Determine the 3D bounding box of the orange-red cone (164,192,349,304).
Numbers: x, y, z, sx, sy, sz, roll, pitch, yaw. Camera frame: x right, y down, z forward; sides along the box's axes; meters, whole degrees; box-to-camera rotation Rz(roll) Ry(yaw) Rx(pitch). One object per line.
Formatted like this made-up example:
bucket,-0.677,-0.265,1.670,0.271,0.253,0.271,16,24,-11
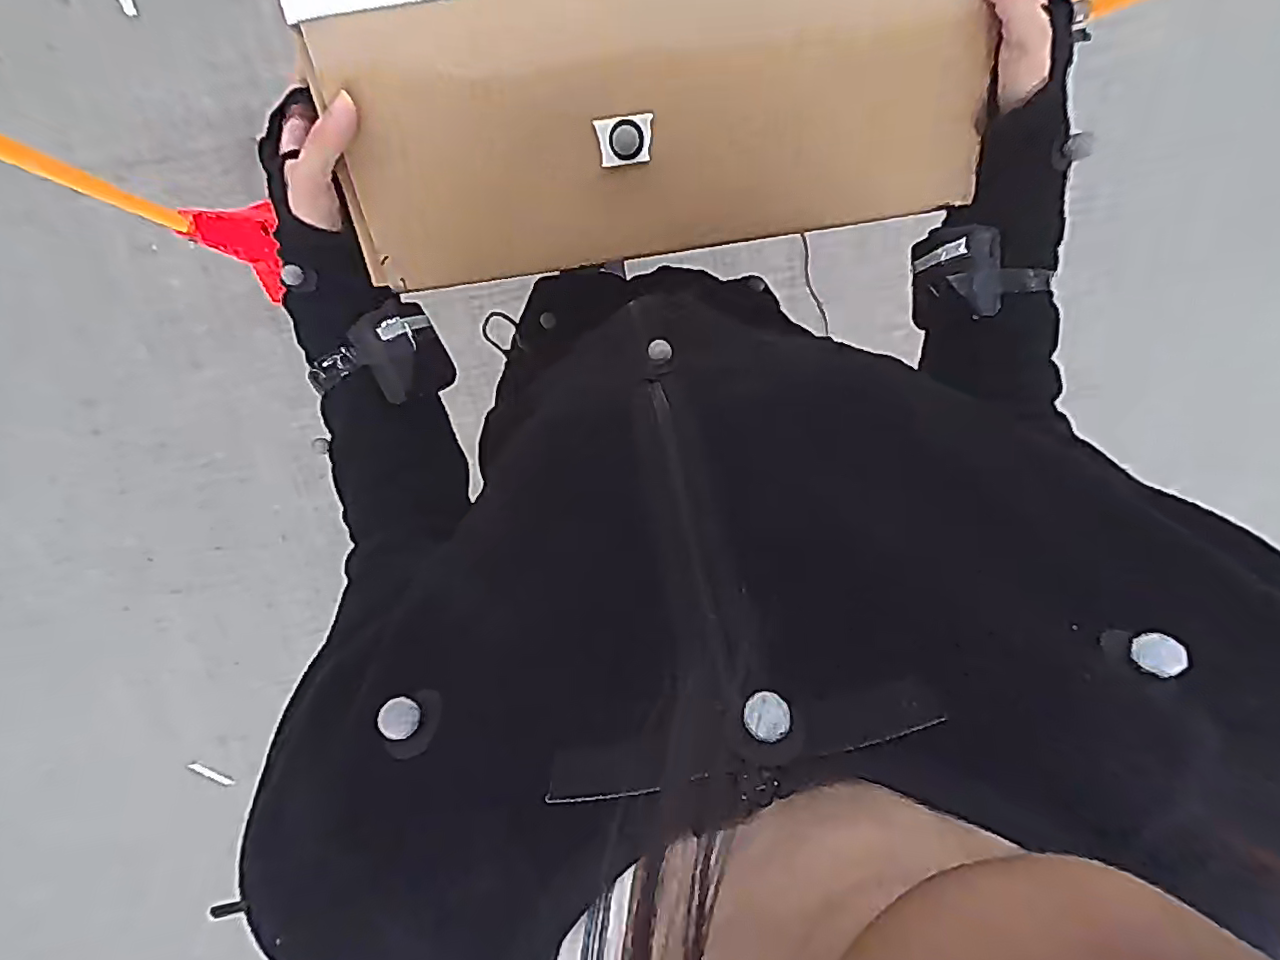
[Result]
orange-red cone,-0.751,-0.454,1.023,0.199,0.360,0.198,-19,108,1
